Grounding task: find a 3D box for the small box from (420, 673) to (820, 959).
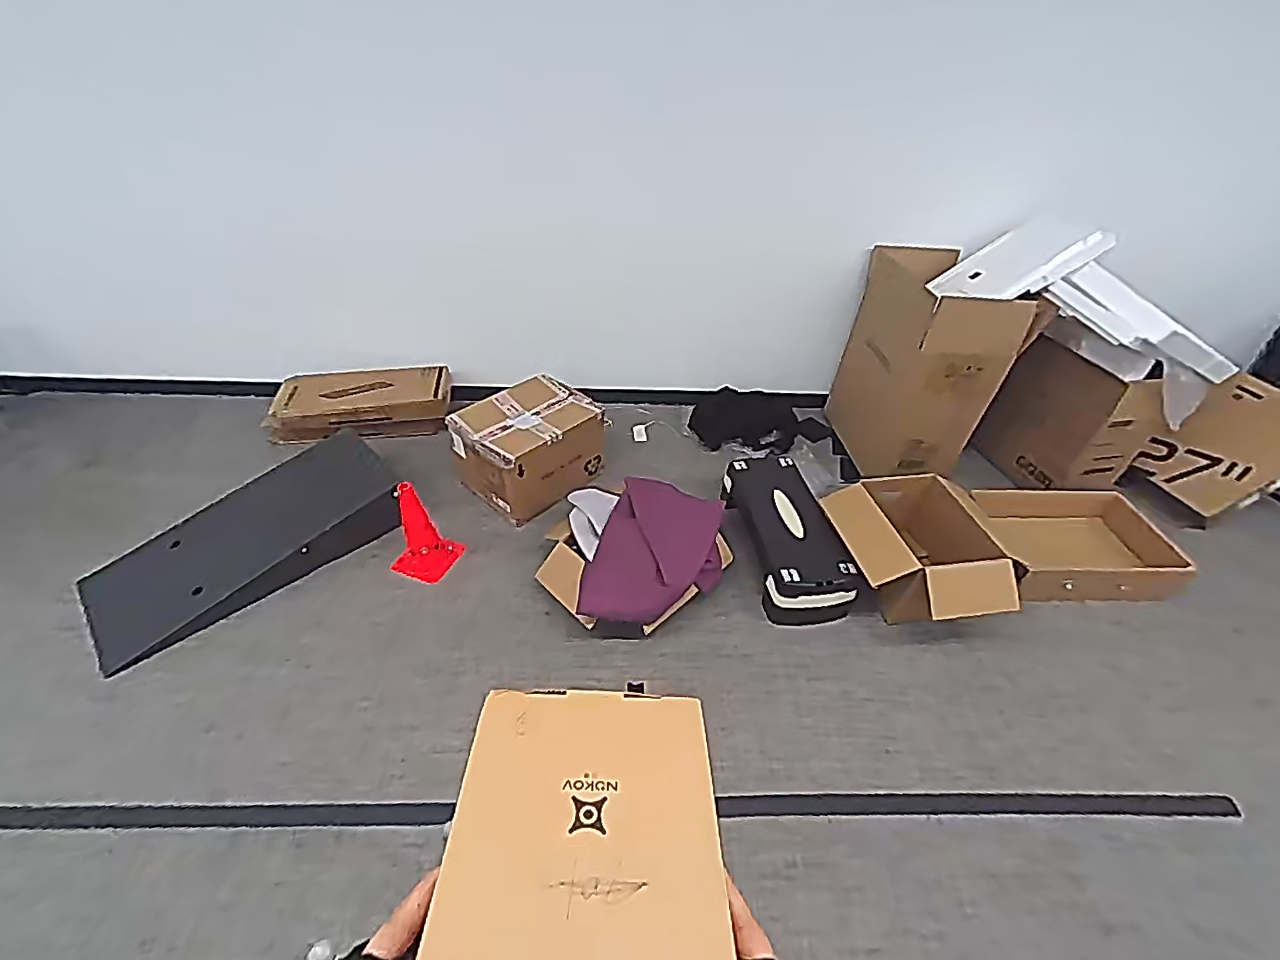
[{"bbox_3d":[-0.015,0.237,0.304,0.168,0.176,0.179,3,31,-4],"label":"small box"}]
